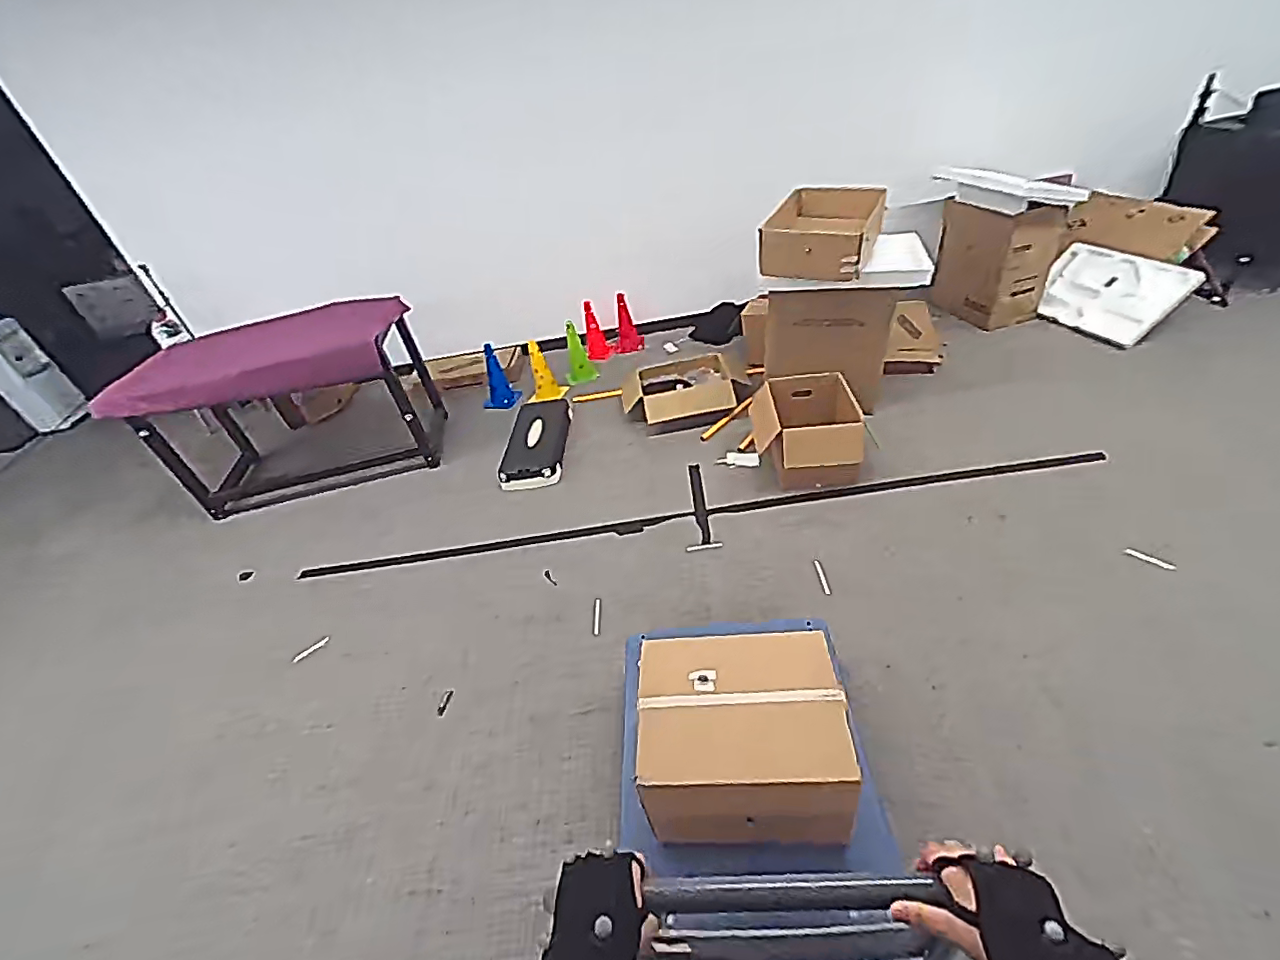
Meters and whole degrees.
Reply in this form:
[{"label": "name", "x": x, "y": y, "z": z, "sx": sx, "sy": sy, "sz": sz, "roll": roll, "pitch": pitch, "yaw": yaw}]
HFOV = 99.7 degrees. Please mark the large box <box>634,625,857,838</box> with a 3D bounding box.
[{"label": "large box", "x": 0.217, "y": 0.548, "z": 1.172, "sx": 0.408, "sy": 0.320, "sz": 0.320, "roll": -7, "pitch": 37, "yaw": 8}]
